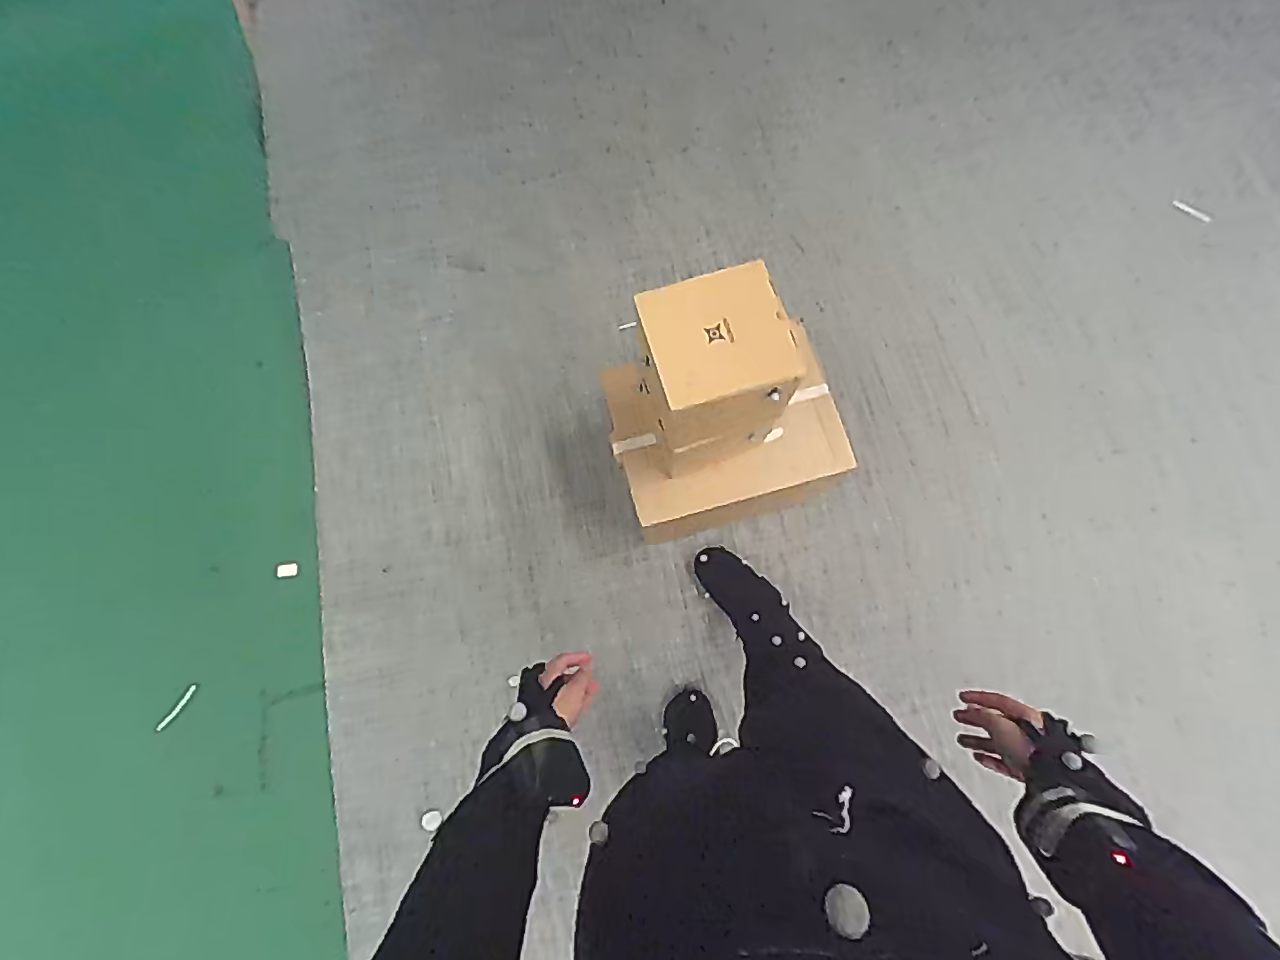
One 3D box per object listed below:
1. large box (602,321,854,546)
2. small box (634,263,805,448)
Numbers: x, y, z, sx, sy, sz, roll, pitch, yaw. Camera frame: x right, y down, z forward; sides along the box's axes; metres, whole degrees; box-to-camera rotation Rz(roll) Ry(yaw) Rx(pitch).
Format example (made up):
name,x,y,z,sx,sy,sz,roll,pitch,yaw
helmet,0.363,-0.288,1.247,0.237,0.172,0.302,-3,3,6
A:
name,x,y,z,sx,sy,sz,roll,pitch,yaw
large box,0.162,-0.076,1.144,0.408,0.320,0.320,-16,77,-2
small box,0.100,-0.160,0.748,0.179,0.176,0.168,-16,76,-2
